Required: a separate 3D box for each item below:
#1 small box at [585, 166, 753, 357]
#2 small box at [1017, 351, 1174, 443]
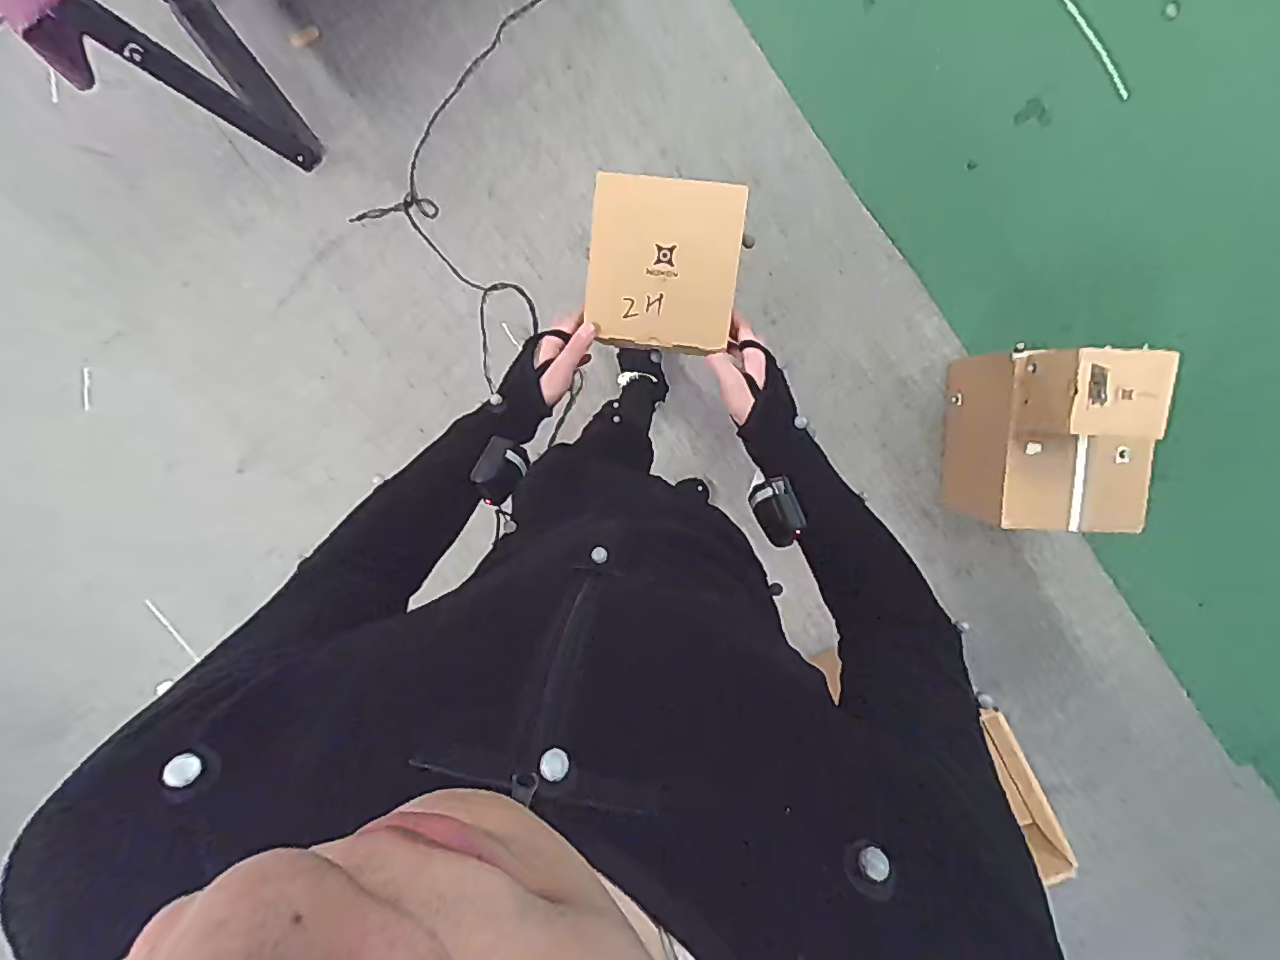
[{"bbox_3d":[0.034,-0.254,0.667,0.168,0.176,0.179,8,101,3],"label":"small box"},{"bbox_3d":[0.918,-0.168,1.110,0.179,0.176,0.168,4,99,4],"label":"small box"}]
